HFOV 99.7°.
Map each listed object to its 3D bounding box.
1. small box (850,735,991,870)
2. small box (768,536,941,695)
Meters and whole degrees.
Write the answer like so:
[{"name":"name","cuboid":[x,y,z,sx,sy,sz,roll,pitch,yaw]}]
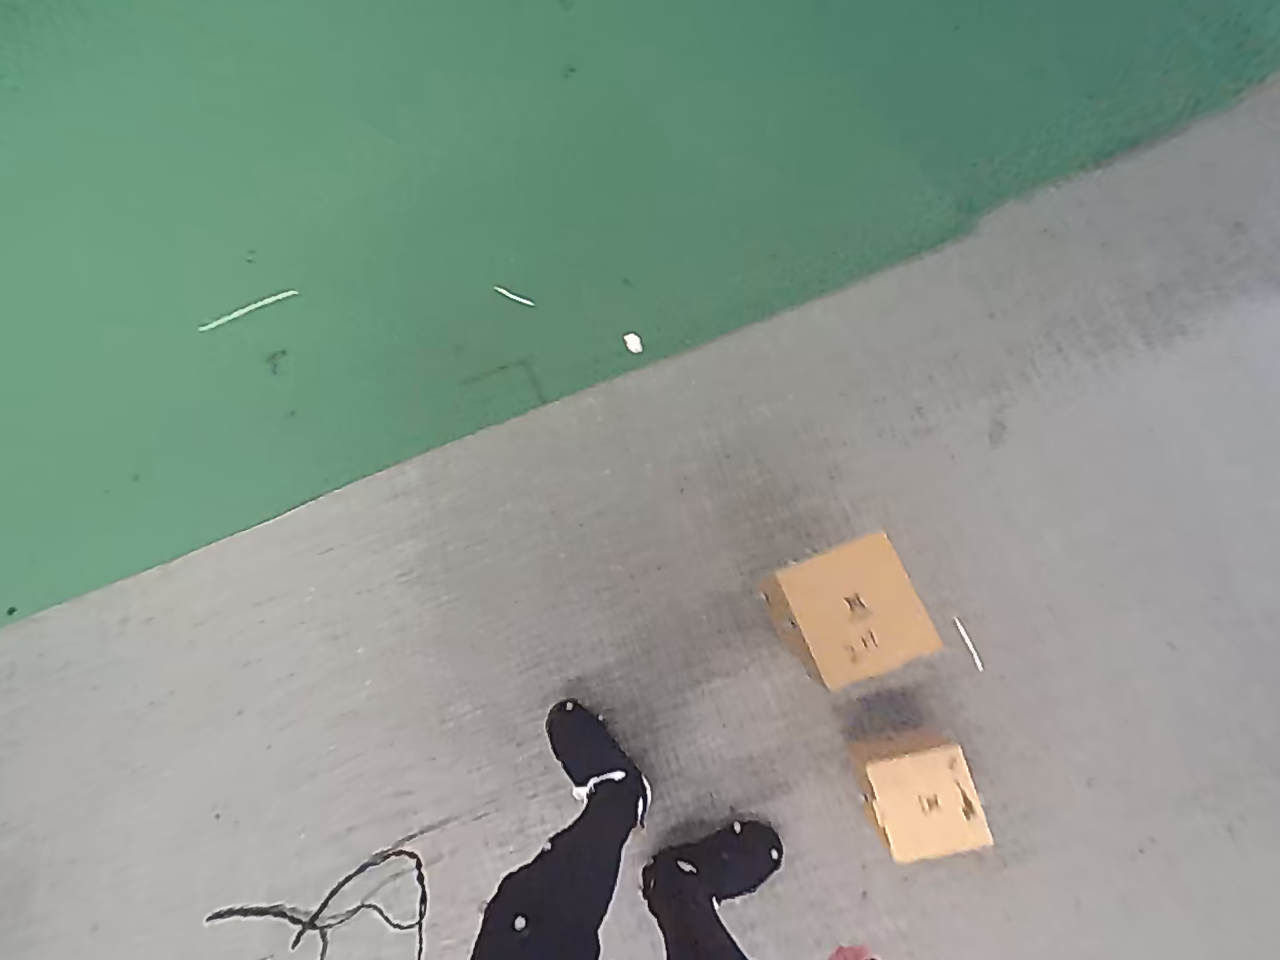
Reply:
[{"name":"small box","cuboid":[0.519,0.607,1.037,0.179,0.176,0.168,-14,75,5]},{"name":"small box","cuboid":[0.309,0.204,0.824,0.168,0.176,0.179,-22,75,2]}]
